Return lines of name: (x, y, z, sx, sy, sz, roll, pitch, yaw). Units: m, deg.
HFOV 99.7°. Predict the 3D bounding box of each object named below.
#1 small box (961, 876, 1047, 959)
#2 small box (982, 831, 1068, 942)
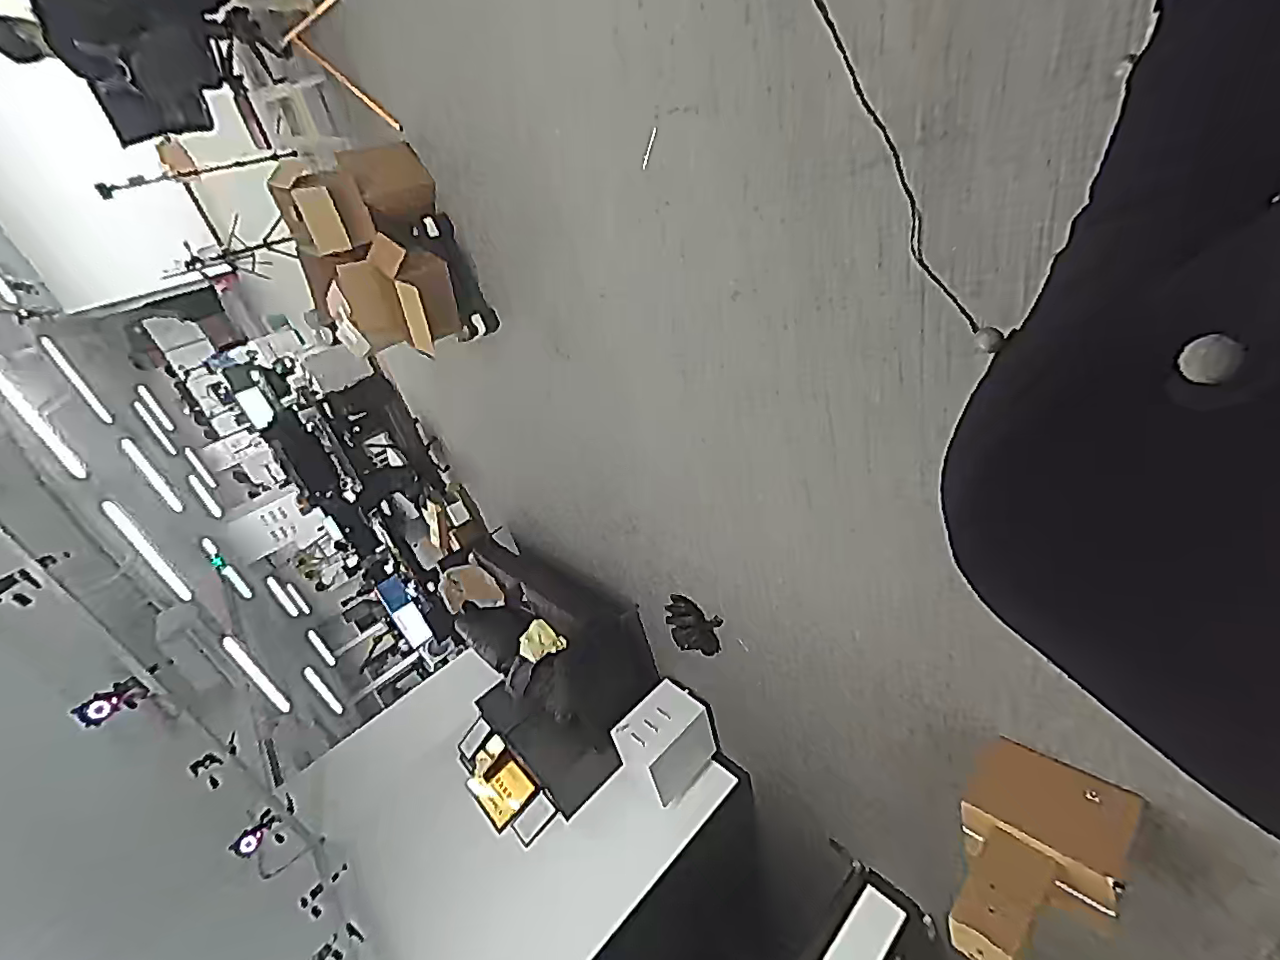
small box: (1.059, 1.314, 1.574, 0.168, 0.176, 0.179, 13, 128, 50)
small box: (1.177, 1.232, 1.652, 0.179, 0.176, 0.168, 15, 130, 50)
